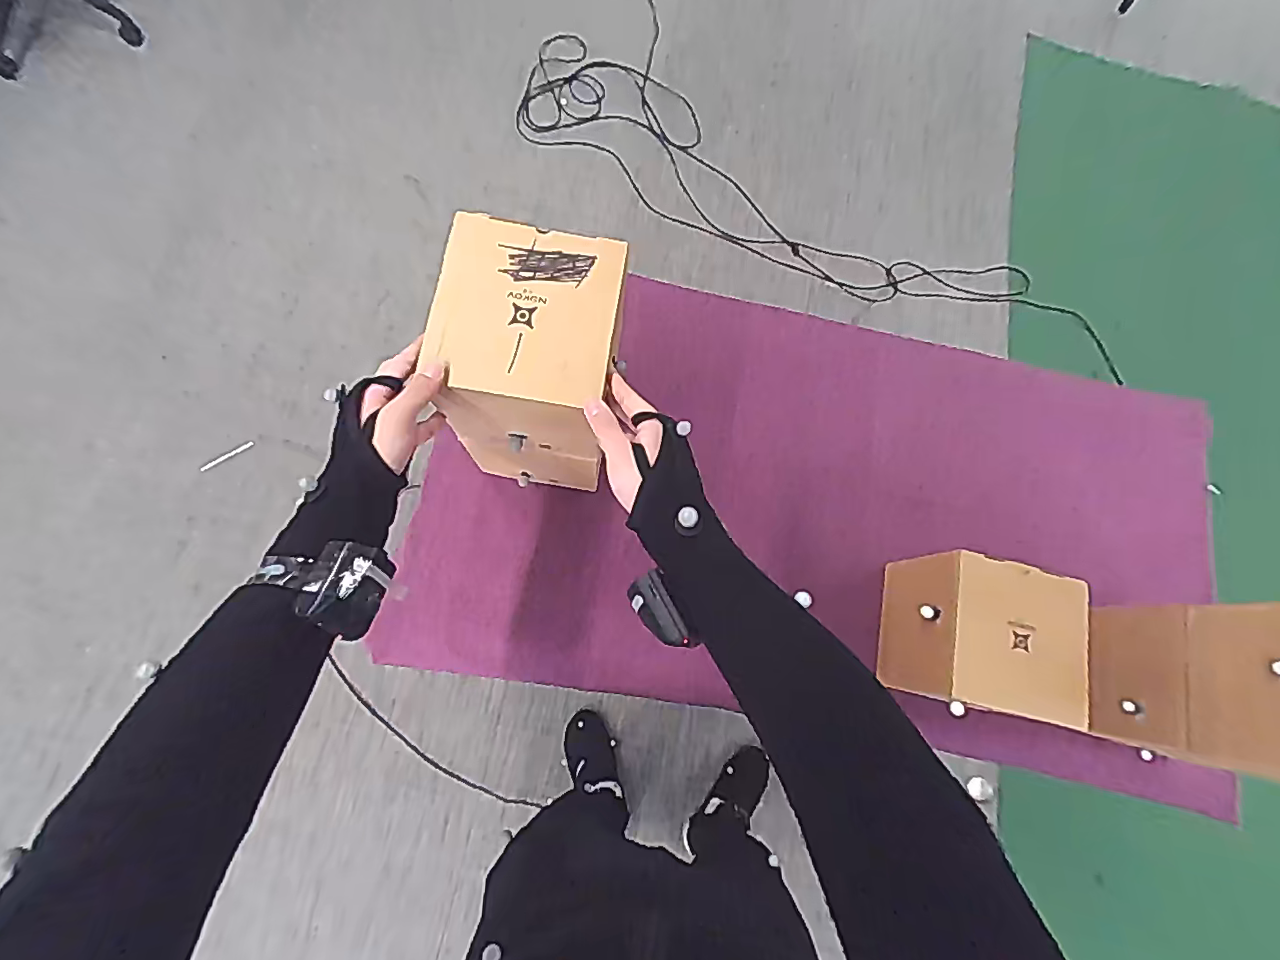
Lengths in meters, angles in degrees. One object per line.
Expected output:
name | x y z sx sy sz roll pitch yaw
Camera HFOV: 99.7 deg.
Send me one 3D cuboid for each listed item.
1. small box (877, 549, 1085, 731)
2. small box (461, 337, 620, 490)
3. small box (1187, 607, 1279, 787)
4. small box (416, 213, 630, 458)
small box | 0.432 0.206 0.708 0.168 0.176 0.179 14 73 -2
small box | -0.125 -0.098 0.731 0.168 0.176 0.179 9 77 -3
small box | 0.723 0.234 0.556 0.168 0.176 0.179 16 73 0
small box | -0.110 -0.137 0.570 0.168 0.176 0.179 9 77 -3
